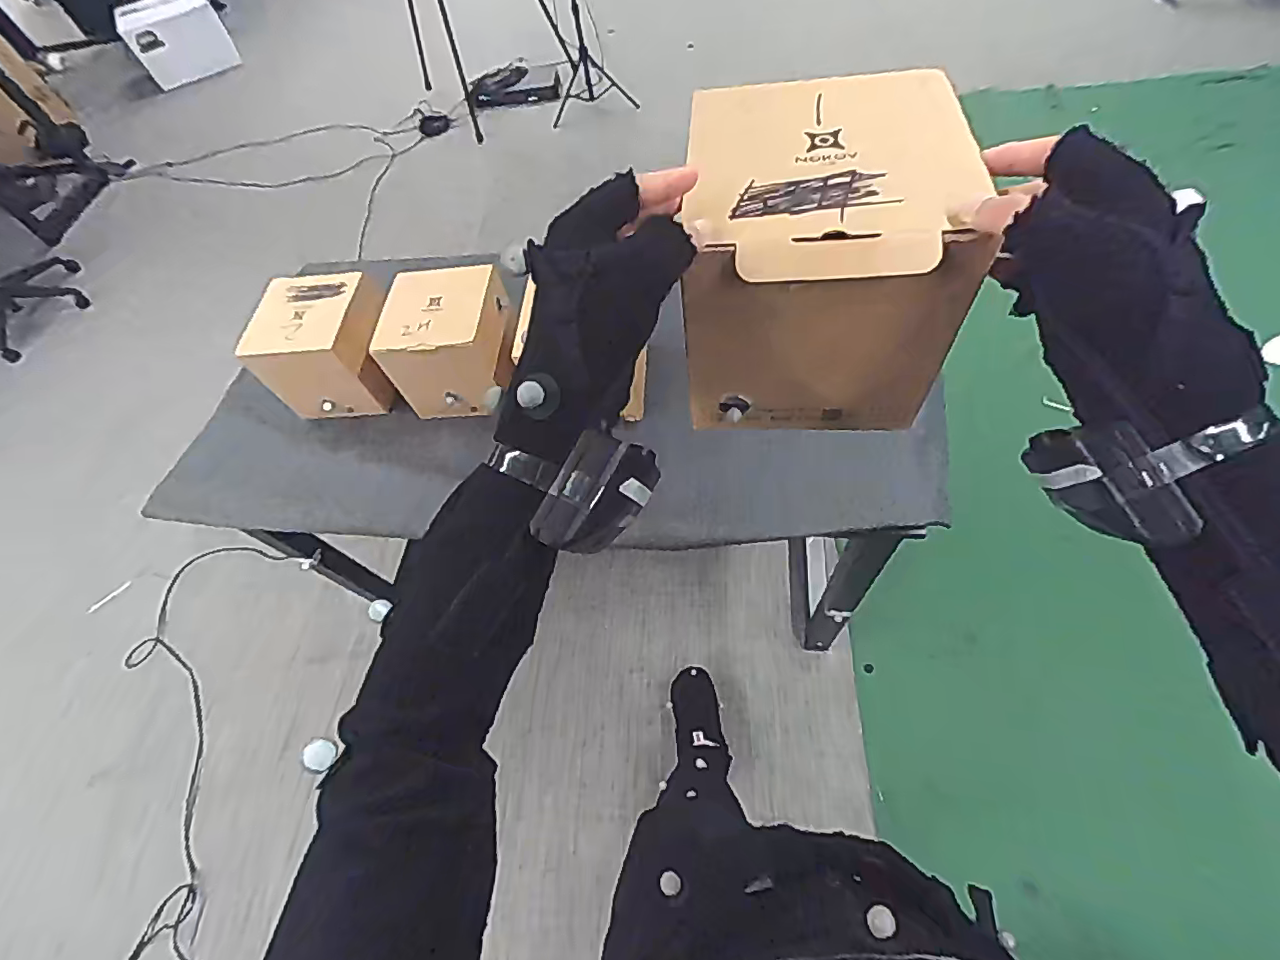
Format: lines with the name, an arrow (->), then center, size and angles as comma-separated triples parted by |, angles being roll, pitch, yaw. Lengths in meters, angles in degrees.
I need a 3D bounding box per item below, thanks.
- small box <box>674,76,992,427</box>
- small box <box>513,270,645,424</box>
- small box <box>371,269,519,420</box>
small box -> 0.118, -0.153, 0.395 | 0.168, 0.176, 0.179 | 1, 58, 9
small box -> -0.084, -0.200, 0.855 | 0.168, 0.176, 0.179 | -2, 59, 8
small box -> -0.304, -0.220, 0.897 | 0.168, 0.176, 0.179 | -2, 59, 7
